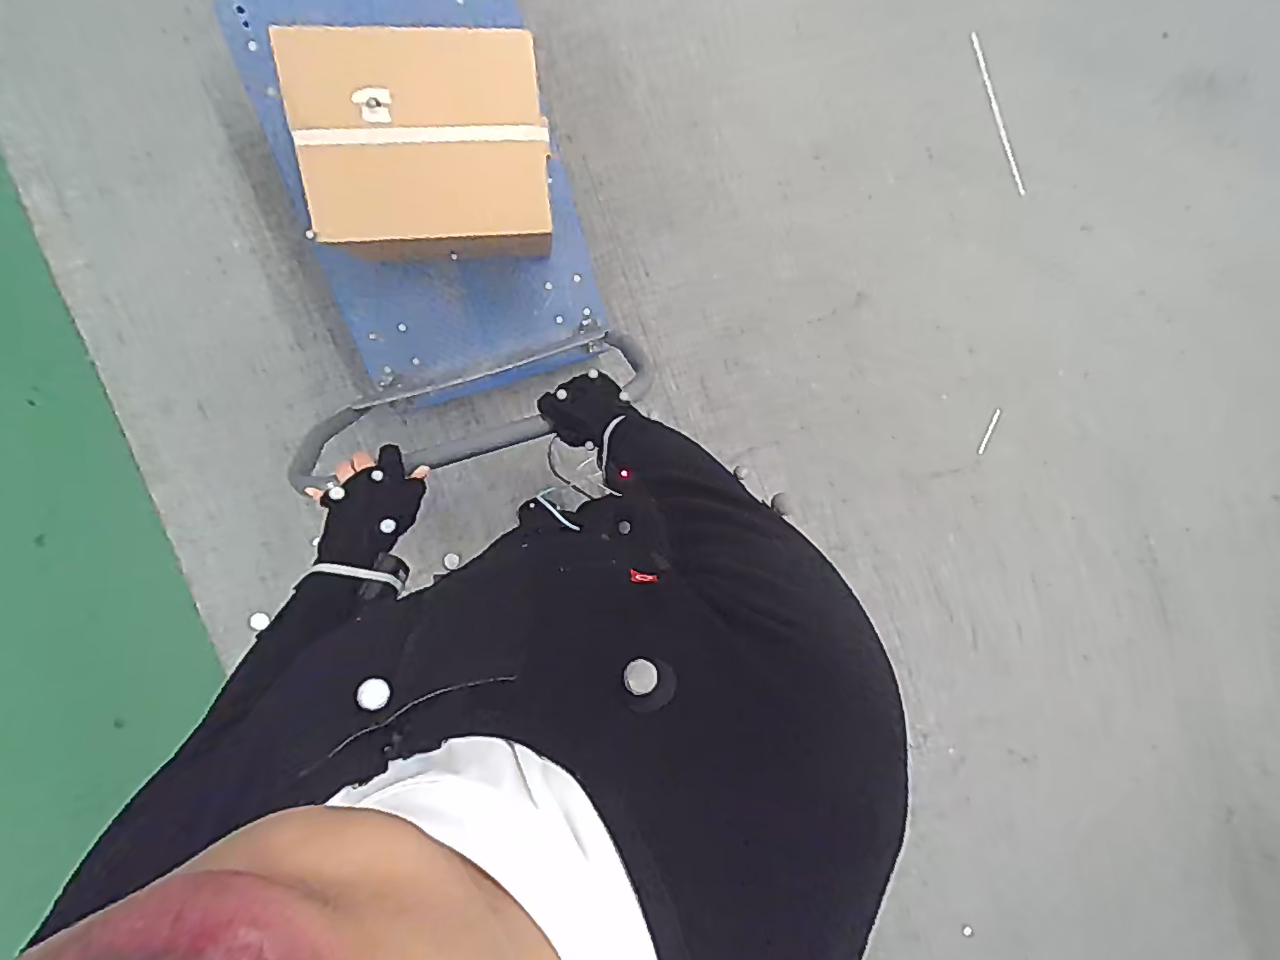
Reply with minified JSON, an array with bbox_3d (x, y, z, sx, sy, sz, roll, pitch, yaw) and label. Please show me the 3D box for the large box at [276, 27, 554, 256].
[{"bbox_3d":[-0.386,-0.621,1.050,0.408,0.320,0.320,-6,107,-8],"label":"large box"}]
